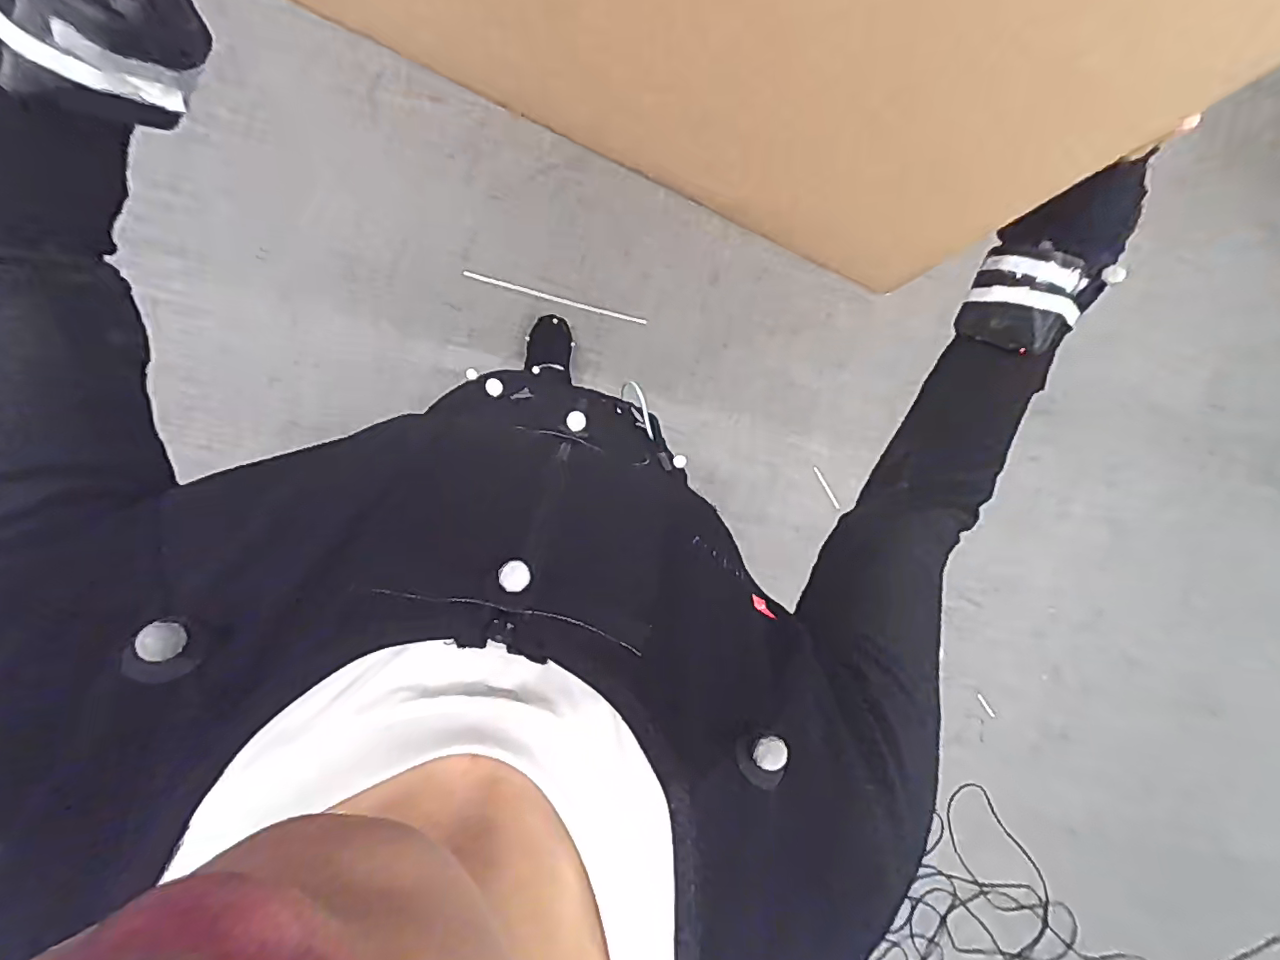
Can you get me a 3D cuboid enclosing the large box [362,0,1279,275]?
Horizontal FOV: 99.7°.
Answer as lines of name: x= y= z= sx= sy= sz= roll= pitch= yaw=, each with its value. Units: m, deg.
large box: x=0.097 y=-0.364 z=0.243 sx=0.408 sy=0.320 sz=0.320 roll=11 pitch=71 yaw=-29
